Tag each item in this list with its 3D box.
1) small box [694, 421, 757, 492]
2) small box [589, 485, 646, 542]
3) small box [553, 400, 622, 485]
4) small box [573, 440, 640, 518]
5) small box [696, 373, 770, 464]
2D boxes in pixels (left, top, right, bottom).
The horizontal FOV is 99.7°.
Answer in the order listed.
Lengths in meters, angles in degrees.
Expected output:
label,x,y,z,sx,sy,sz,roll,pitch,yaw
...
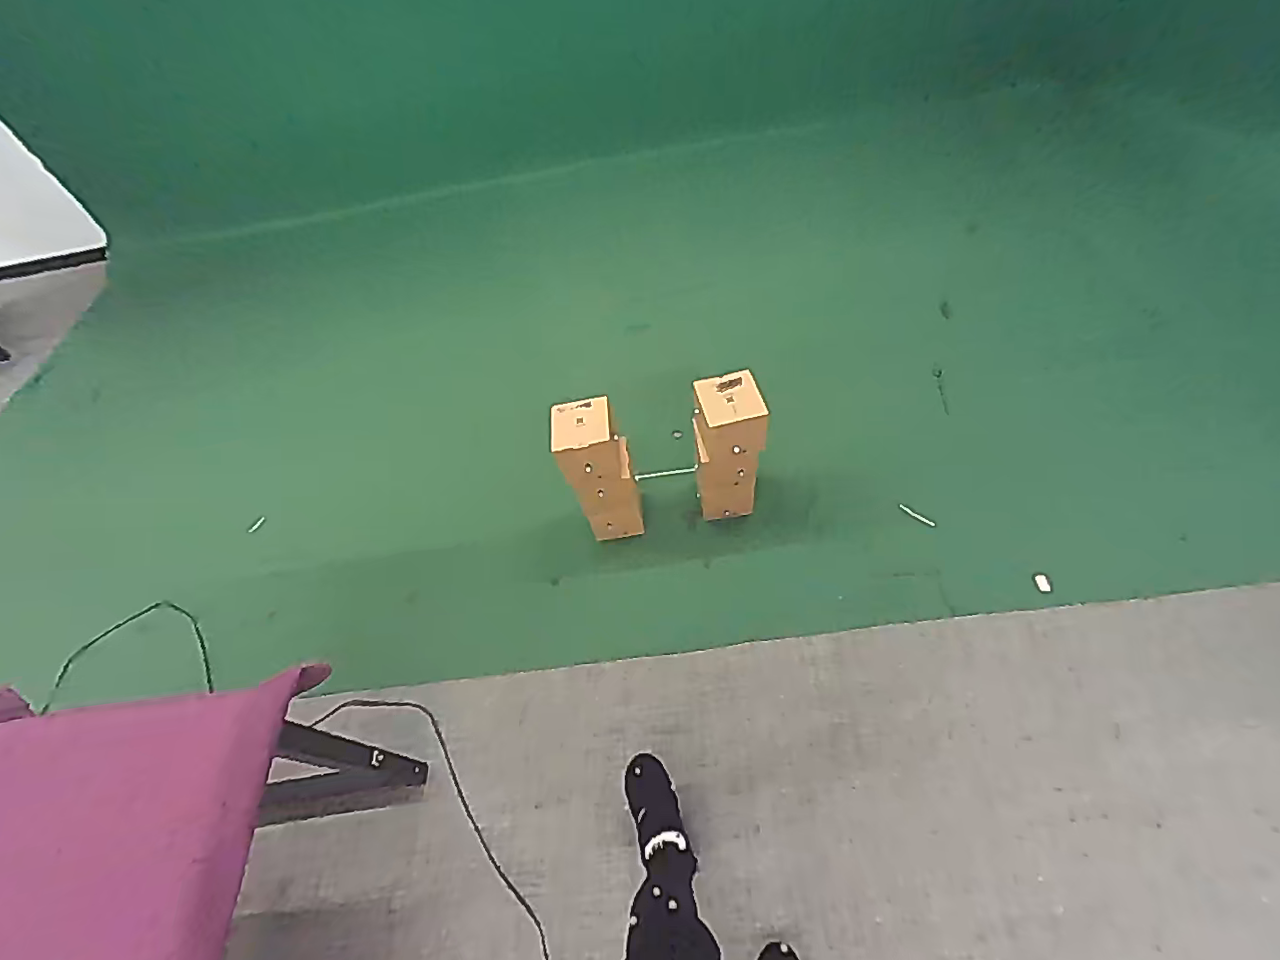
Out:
label,x,y,z,sx,sy,sz,roll,pitch,yaw
small box,0.265,-0.077,1.678,0.168,0.176,0.179,-9,54,2
small box,-0.078,0.094,1.821,0.168,0.176,0.179,-10,53,3
small box,-0.149,-0.100,1.565,0.168,0.176,0.179,-10,54,4
small box,-0.104,0.003,1.687,0.179,0.176,0.168,-10,53,3
small box,0.258,-0.172,1.545,0.168,0.176,0.179,-13,56,-1
